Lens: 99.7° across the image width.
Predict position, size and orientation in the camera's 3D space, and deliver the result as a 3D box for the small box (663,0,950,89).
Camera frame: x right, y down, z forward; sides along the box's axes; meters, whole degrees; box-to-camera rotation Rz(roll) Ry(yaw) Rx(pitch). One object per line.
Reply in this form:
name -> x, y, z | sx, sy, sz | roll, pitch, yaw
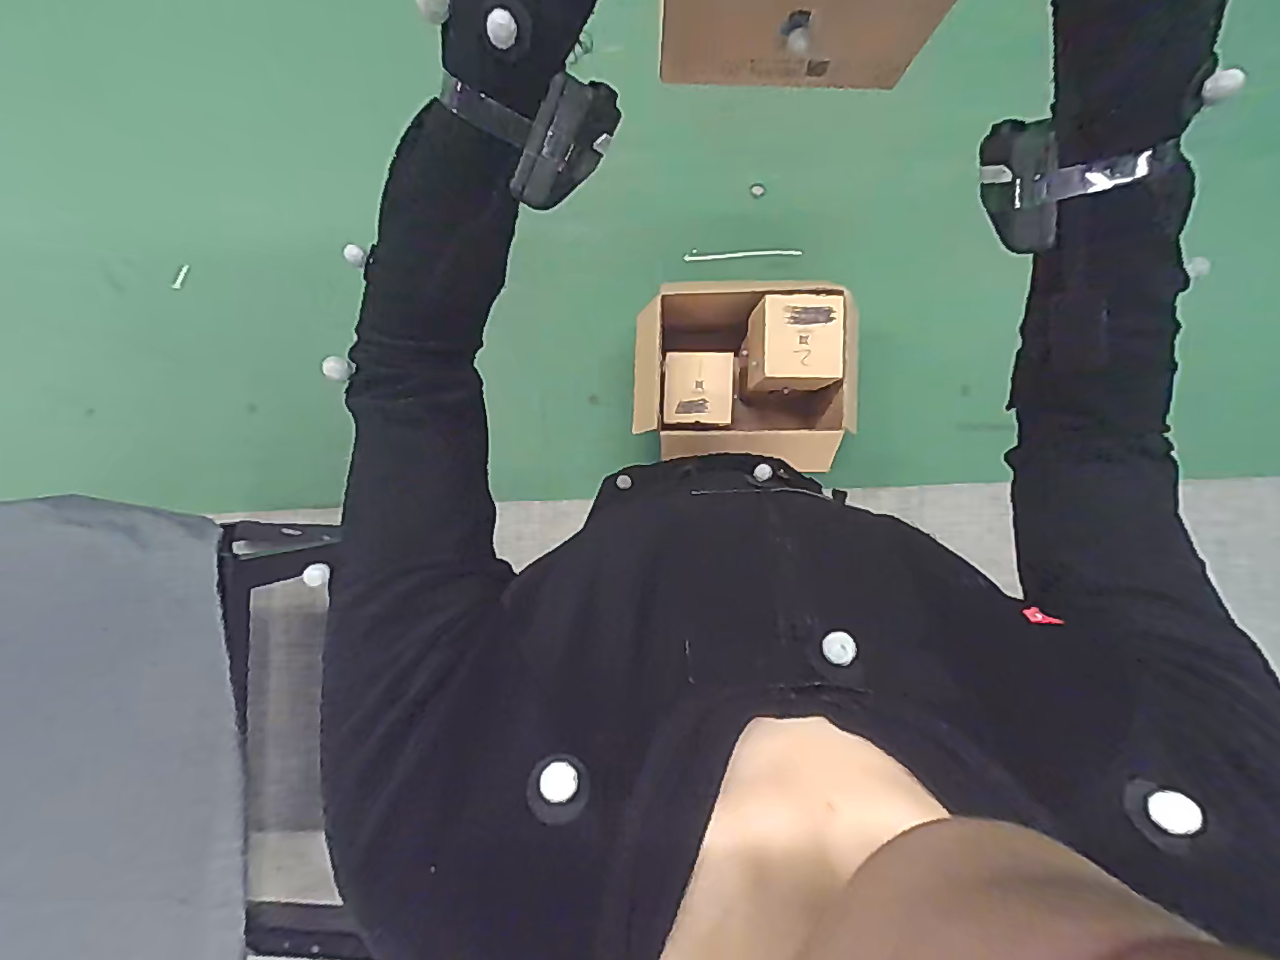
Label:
small box -> 0.099, -0.358, 0.290 | 0.168, 0.176, 0.179 | 1, 92, 0
